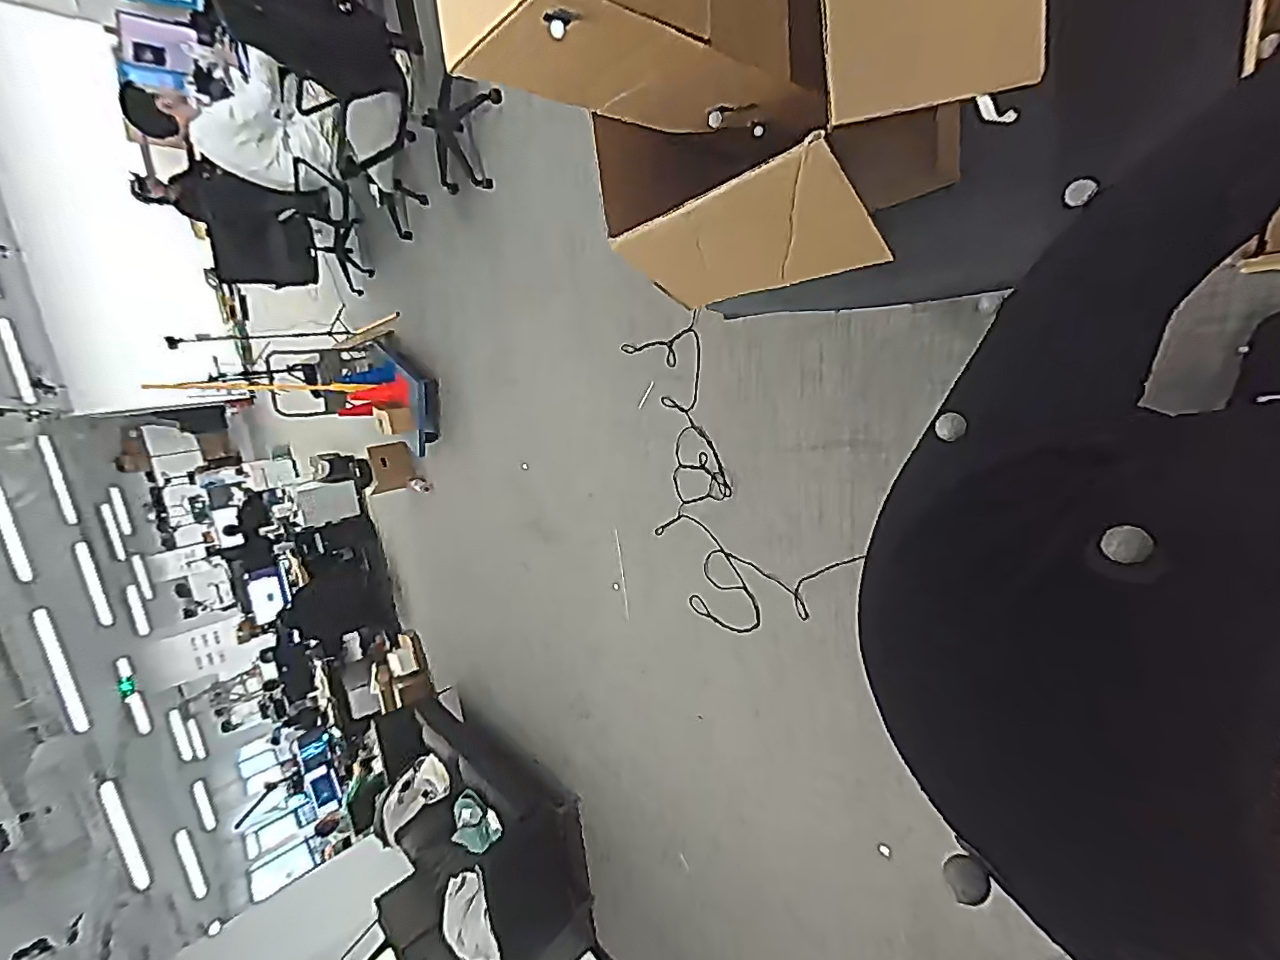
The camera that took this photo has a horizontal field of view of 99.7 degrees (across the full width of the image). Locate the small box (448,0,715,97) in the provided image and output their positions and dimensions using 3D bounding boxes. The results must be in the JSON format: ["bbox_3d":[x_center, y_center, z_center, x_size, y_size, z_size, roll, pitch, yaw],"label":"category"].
[{"bbox_3d":[-0.056,-0.462,0.463,0.179,0.176,0.168,12,112,46],"label":"small box"}]

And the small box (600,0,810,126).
[{"bbox_3d":[0.063,-0.503,0.564,0.168,0.176,0.179,11,113,47],"label":"small box"}]
